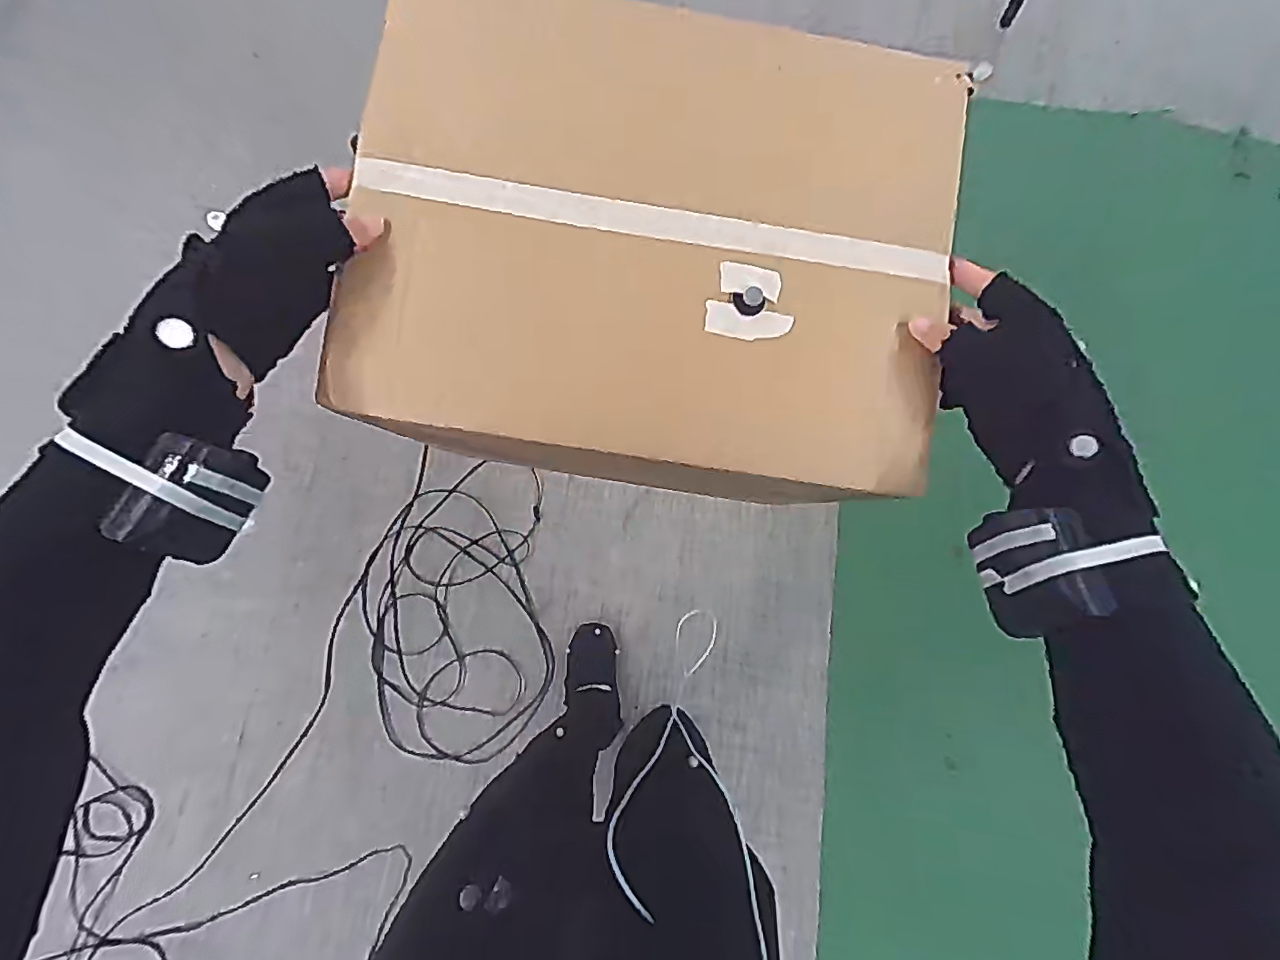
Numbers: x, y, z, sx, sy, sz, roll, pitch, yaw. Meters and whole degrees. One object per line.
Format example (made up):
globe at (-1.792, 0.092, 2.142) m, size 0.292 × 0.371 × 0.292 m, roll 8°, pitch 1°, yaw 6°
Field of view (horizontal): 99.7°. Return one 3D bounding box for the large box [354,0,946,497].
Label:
large box at (0.008, -0.165, 0.538) m, size 0.408 × 0.320 × 0.320 m, roll 9°, pitch 87°, yaw -3°
